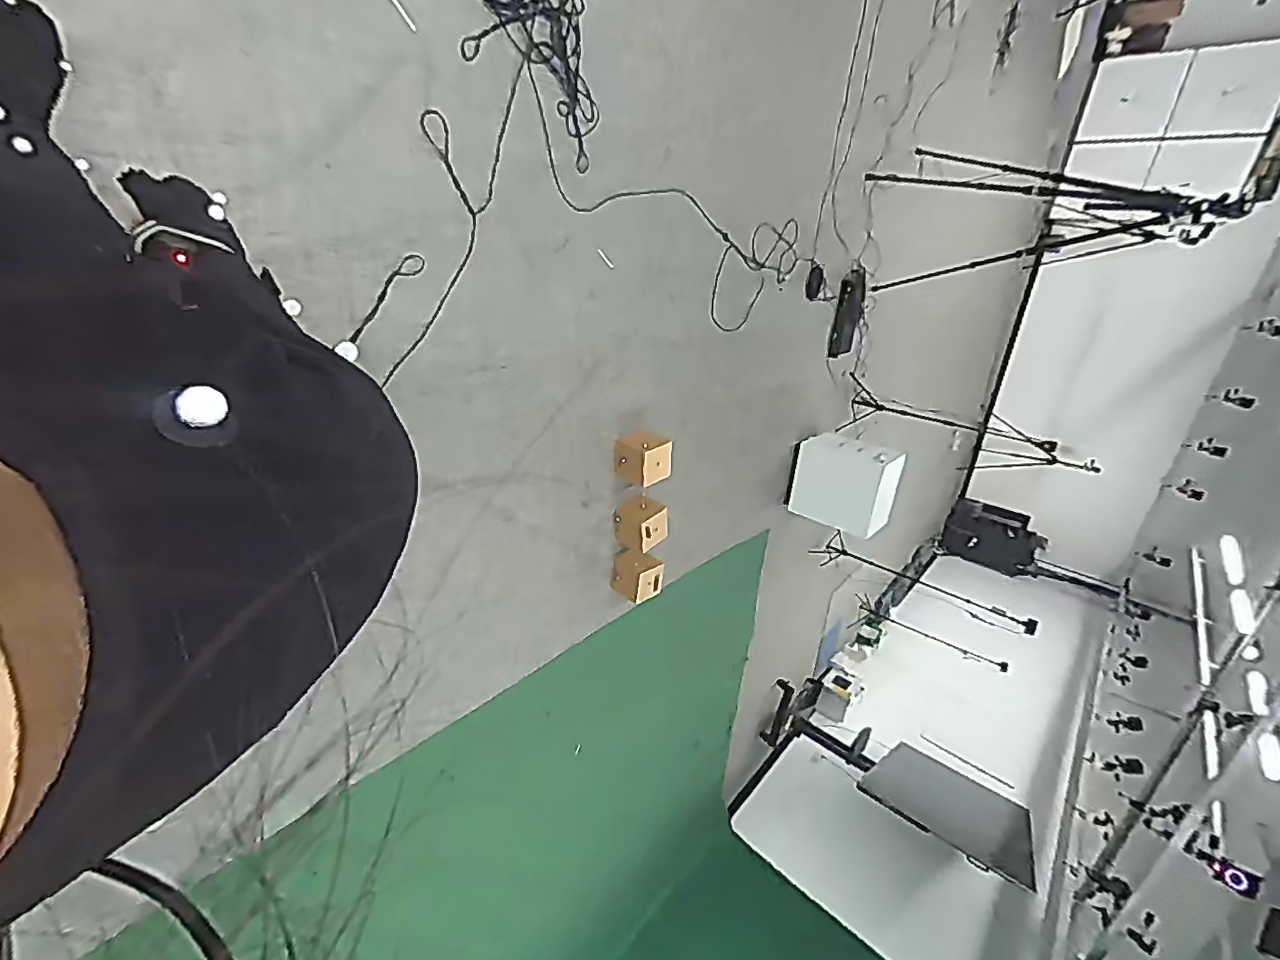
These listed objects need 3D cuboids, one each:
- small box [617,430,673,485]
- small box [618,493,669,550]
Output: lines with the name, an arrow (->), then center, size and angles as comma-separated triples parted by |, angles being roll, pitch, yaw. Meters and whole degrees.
small box -> 0.019, -0.102, 2.310 | 0.179, 0.176, 0.168 | -25, 126, -40
small box -> 0.011, 0.184, 2.449 | 0.179, 0.176, 0.168 | -30, 131, -39
